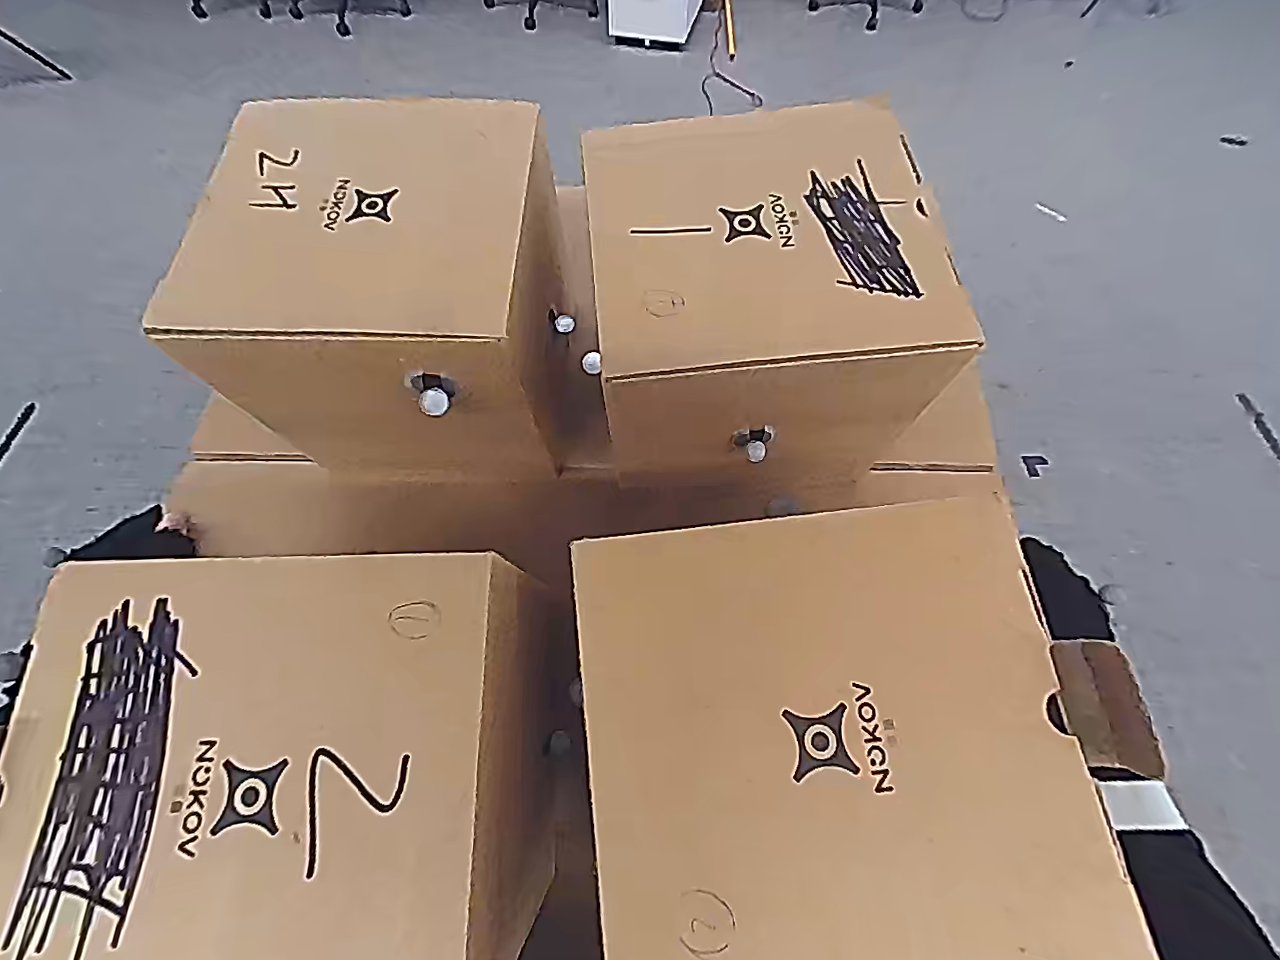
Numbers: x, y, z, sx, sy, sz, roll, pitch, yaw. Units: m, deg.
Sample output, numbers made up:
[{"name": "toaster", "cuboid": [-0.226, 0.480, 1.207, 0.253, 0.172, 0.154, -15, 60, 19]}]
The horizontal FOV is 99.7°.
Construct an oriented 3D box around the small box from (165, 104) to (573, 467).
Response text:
[{"name": "small box", "cuboid": [-0.145, -0.116, 0.370, 0.179, 0.176, 0.168, 2, 67, 2]}]
